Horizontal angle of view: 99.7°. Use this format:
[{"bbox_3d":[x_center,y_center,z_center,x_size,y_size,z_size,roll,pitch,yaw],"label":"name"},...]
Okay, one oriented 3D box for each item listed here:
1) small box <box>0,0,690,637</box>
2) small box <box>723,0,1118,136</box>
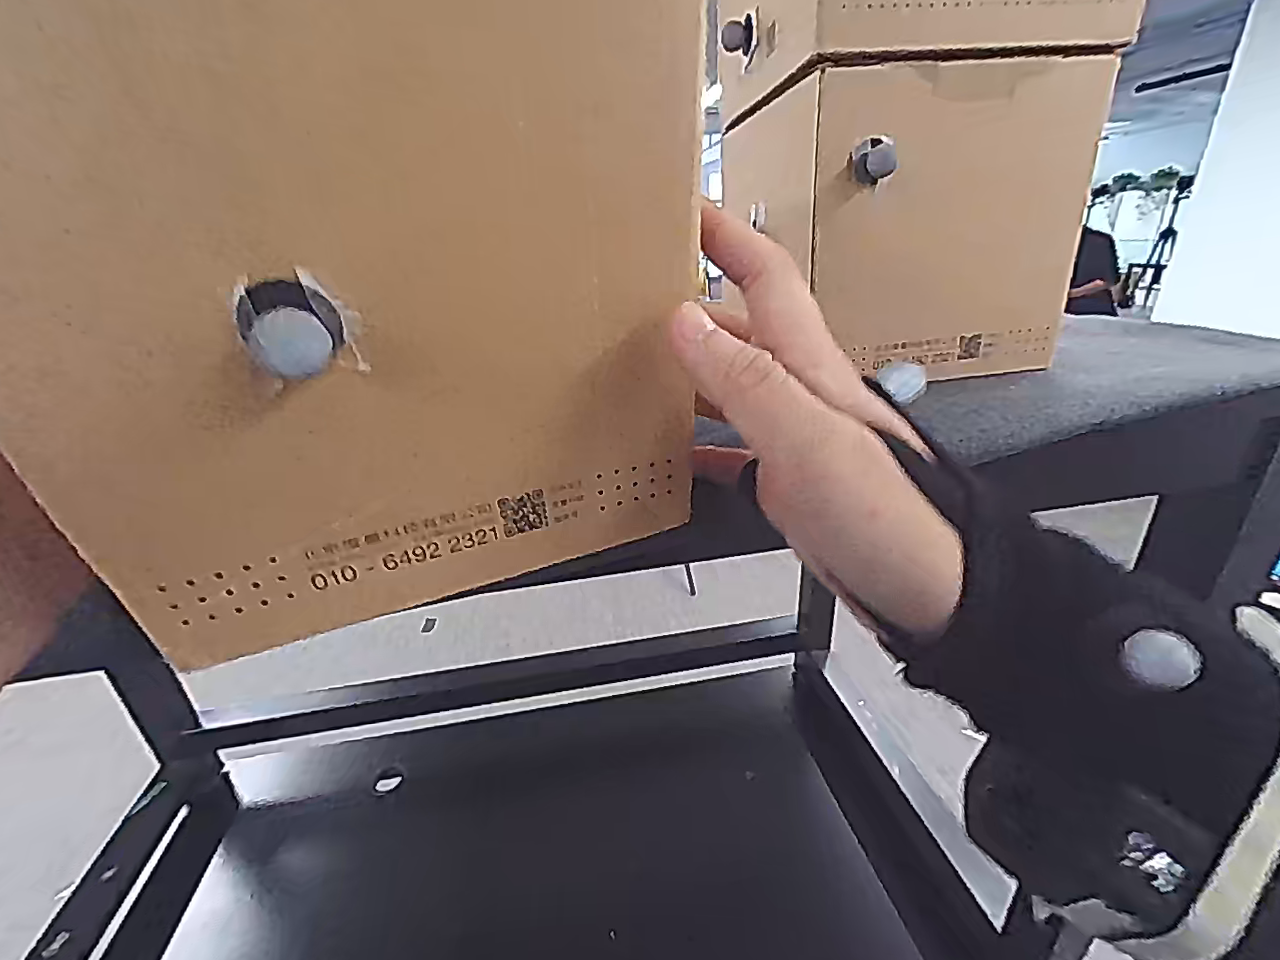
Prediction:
[{"bbox_3d":[-0.089,-0.068,0.198,0.168,0.176,0.179,-15,36,-19],"label":"small box"},{"bbox_3d":[0.150,-0.312,0.310,0.179,0.176,0.168,-8,22,-6],"label":"small box"}]
